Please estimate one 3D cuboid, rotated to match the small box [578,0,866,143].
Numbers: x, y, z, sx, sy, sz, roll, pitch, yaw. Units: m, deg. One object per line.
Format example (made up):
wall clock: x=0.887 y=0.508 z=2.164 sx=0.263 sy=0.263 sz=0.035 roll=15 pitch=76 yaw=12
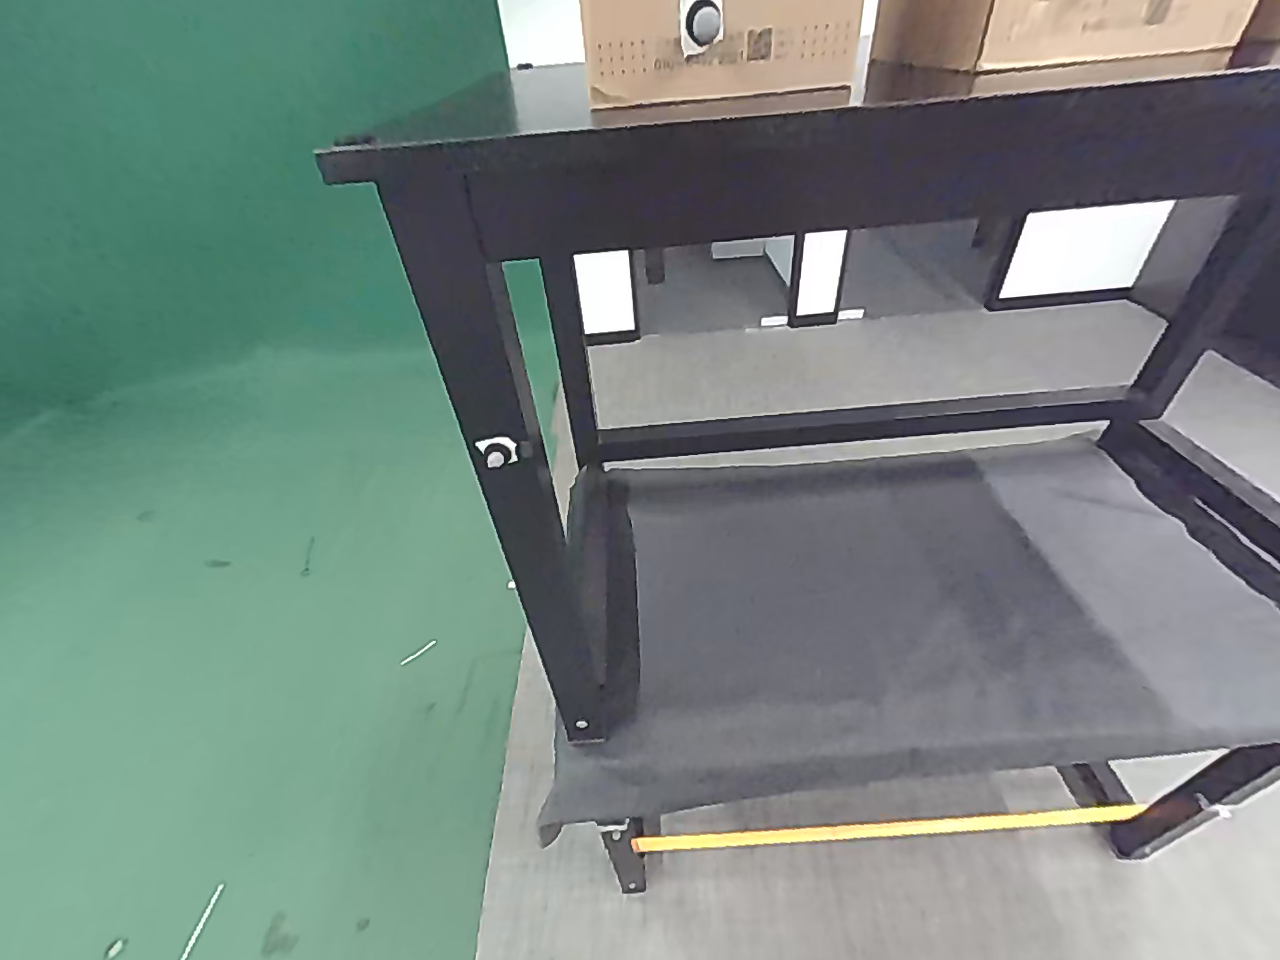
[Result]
small box: x=0.041 y=-0.335 z=0.357 sx=0.168 sy=0.176 sz=0.179 roll=-7 pitch=41 yaw=0
